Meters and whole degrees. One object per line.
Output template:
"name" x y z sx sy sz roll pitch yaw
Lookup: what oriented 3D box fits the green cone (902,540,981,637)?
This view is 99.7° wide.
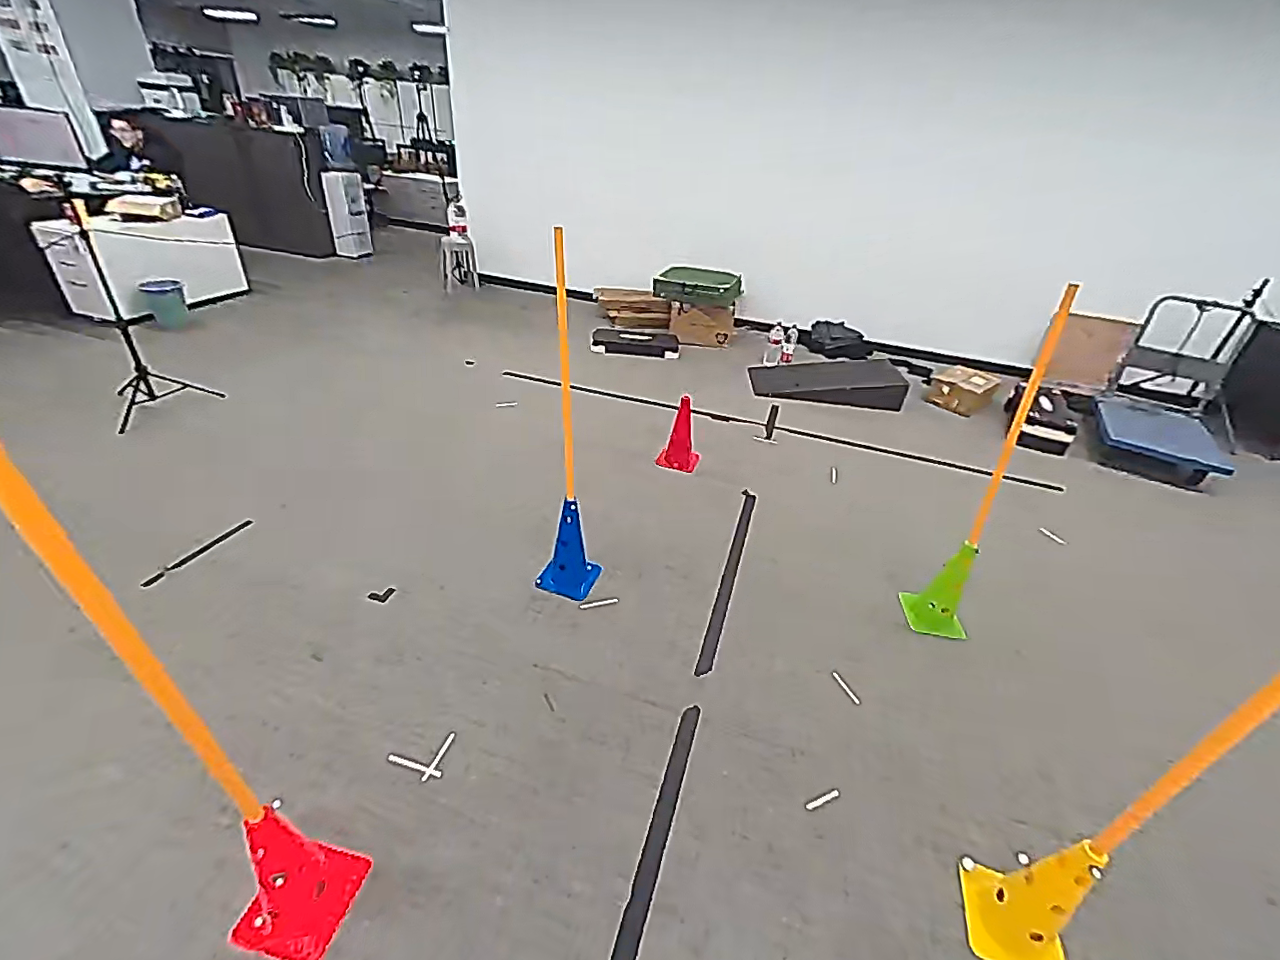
"green cone" 1.112 0.358 1.928 0.200 0.368 0.202 8 35 3

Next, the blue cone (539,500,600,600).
"blue cone" -0.247 0.227 1.934 0.193 0.380 0.192 15 35 15

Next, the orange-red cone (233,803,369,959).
"orange-red cone" -0.693 0.733 1.051 0.199 0.360 0.198 12 34 7
